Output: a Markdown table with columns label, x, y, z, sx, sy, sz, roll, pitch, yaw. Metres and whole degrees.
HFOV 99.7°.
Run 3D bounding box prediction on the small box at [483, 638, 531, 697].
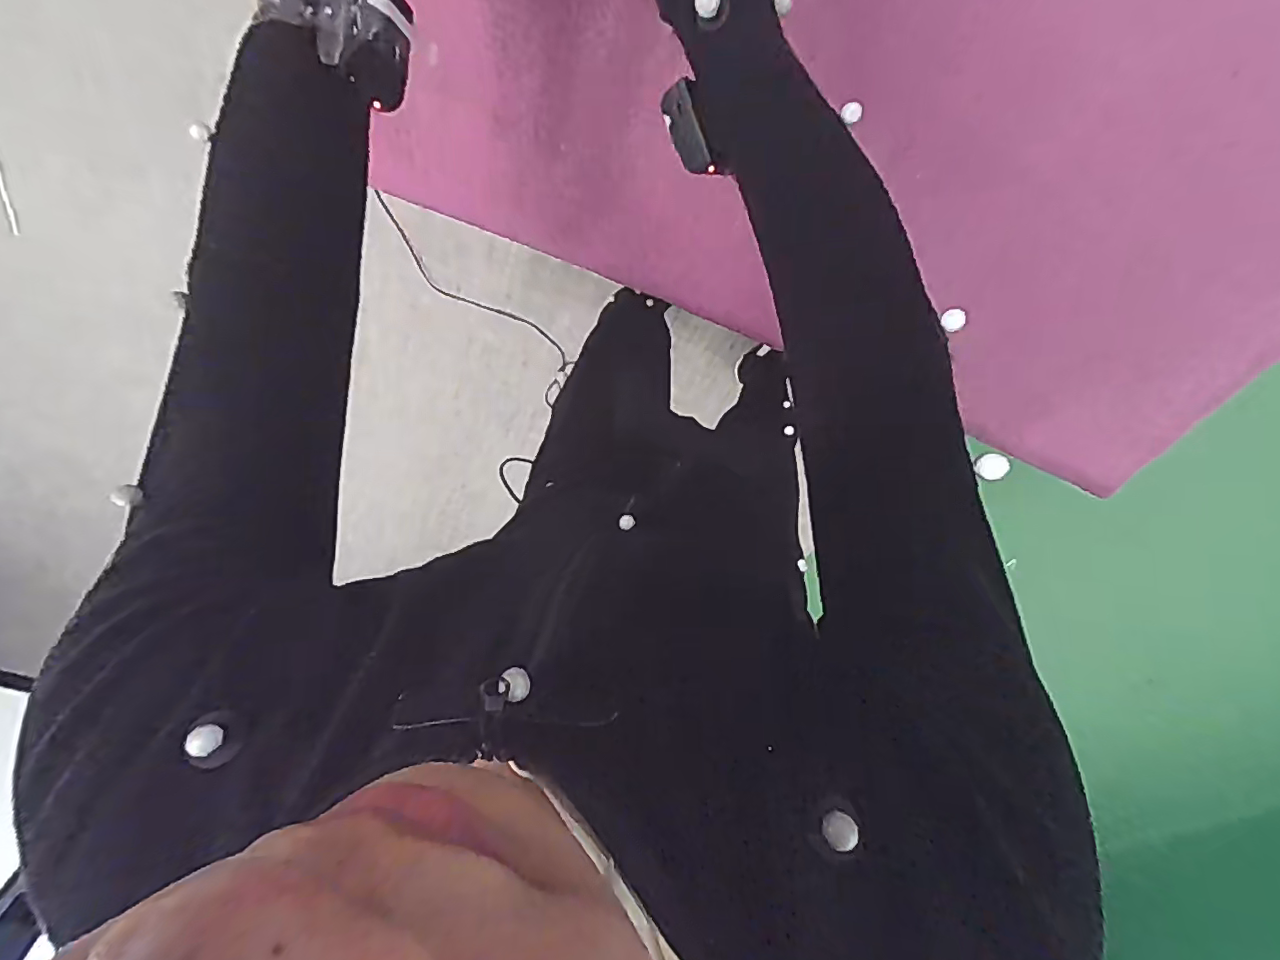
| label | x | y | z | sx | sy | sz | roll | pitch | yaw |
| --- | --- | --- | --- | --- | --- | --- | --- | --- | --- |
| small box | -0.589 | 0.844 | 2.442 | 0.168 | 0.176 | 0.179 | 23 | 128 | -12 |
